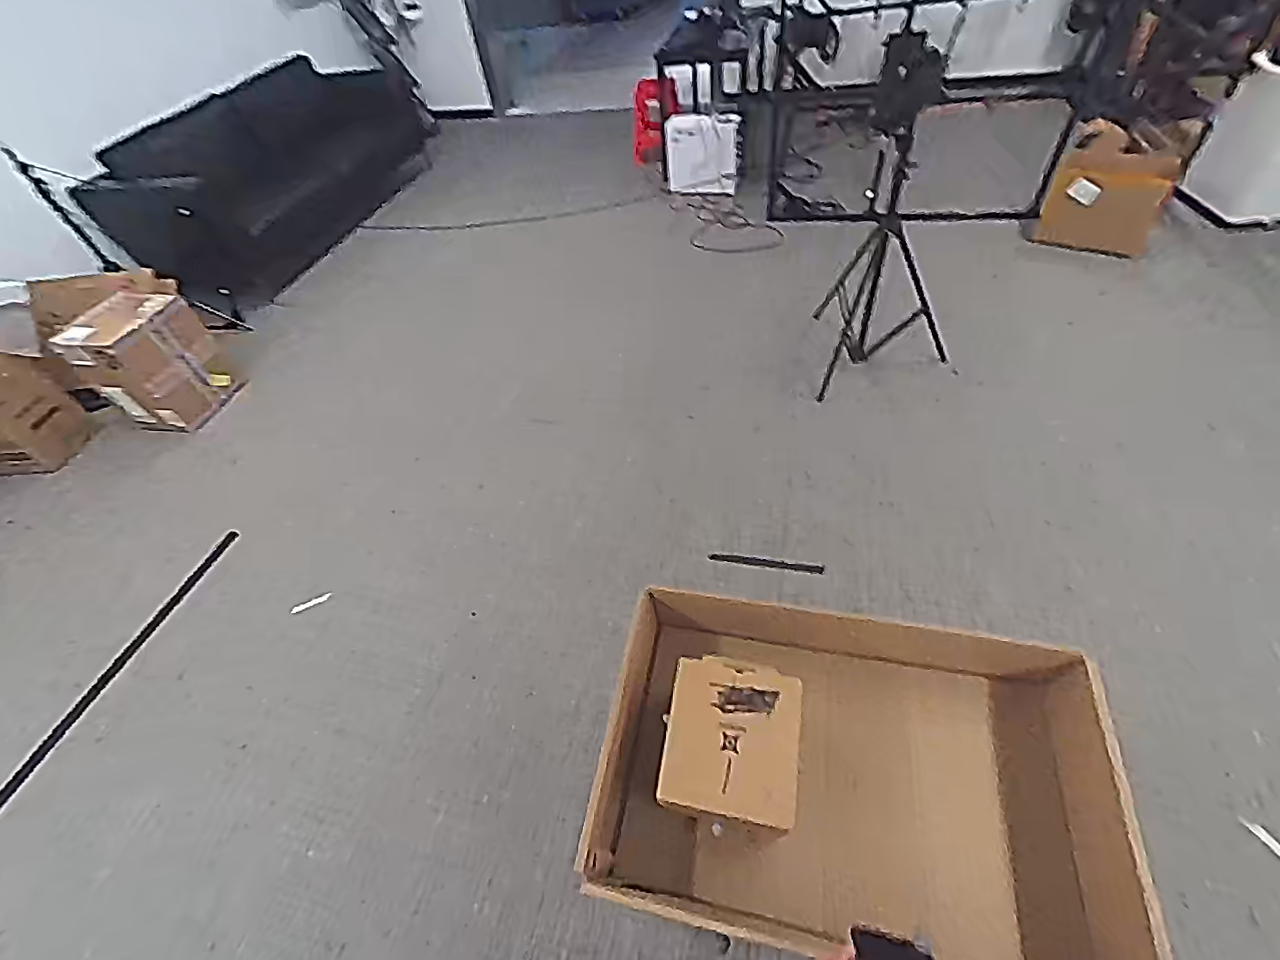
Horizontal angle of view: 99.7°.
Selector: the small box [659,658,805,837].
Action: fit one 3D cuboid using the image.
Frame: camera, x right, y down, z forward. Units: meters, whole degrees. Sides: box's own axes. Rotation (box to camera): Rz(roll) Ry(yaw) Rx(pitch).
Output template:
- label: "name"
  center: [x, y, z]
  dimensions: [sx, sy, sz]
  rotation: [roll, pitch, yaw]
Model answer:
- label: "small box"
  center: [0.129, 0.371, 0.747]
  dimensions: [0.168, 0.176, 0.179]
  rotation: [6, 56, 13]
